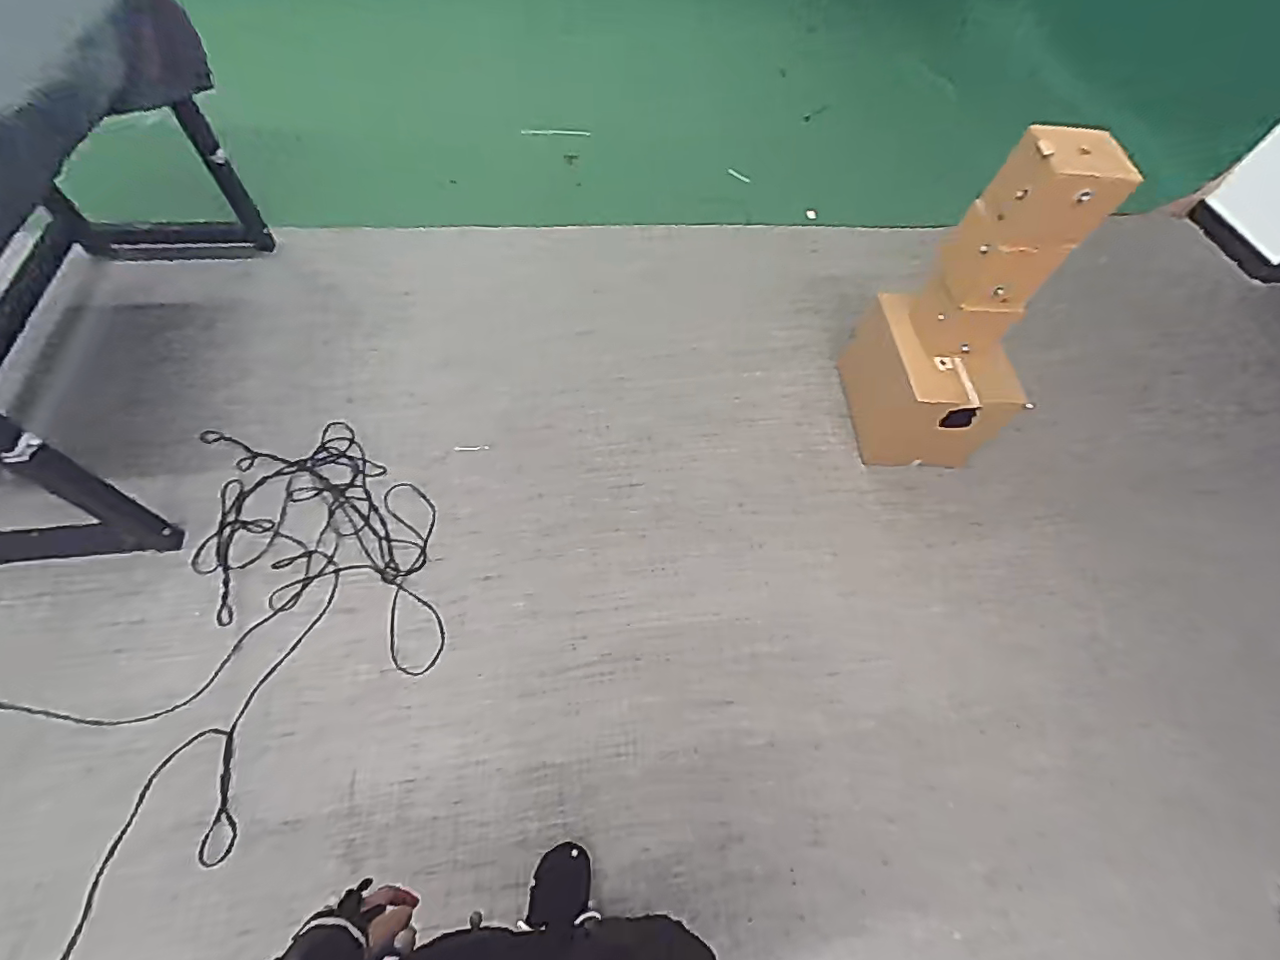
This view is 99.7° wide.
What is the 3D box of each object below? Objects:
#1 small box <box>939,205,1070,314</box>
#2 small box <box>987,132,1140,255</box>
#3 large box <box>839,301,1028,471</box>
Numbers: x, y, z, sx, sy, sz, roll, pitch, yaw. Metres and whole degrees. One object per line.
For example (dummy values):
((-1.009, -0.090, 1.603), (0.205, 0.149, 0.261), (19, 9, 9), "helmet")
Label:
((0.856, -0.523, 1.292), (0.168, 0.176, 0.179), (-1, 61, -6), "small box")
((0.882, -0.604, 1.153), (0.179, 0.176, 0.168), (2, 62, -6), "small box")
((0.839, -0.273, 1.617), (0.320, 0.320, 0.408), (0, 61, -5), "large box")
